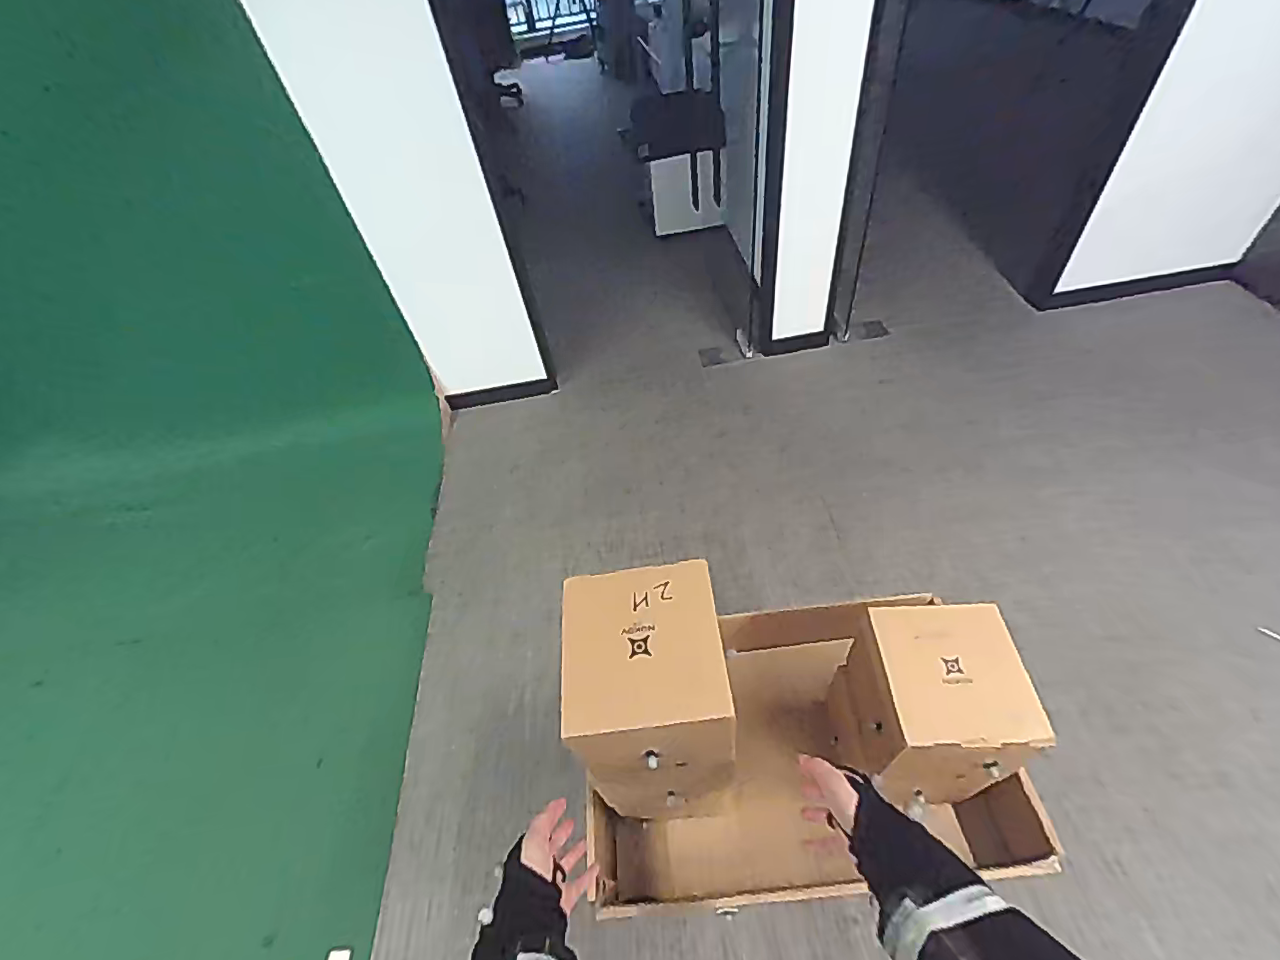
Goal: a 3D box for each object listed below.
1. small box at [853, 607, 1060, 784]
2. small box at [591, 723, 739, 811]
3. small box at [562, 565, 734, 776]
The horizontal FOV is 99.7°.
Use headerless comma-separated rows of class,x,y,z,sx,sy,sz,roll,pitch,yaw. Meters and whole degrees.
small box,0.394,0.288,0.714,0.168,0.176,0.179,-3,47,6
small box,0.032,0.335,0.738,0.179,0.176,0.168,-9,48,2
small box,0.013,0.223,0.617,0.168,0.176,0.179,-8,48,3
